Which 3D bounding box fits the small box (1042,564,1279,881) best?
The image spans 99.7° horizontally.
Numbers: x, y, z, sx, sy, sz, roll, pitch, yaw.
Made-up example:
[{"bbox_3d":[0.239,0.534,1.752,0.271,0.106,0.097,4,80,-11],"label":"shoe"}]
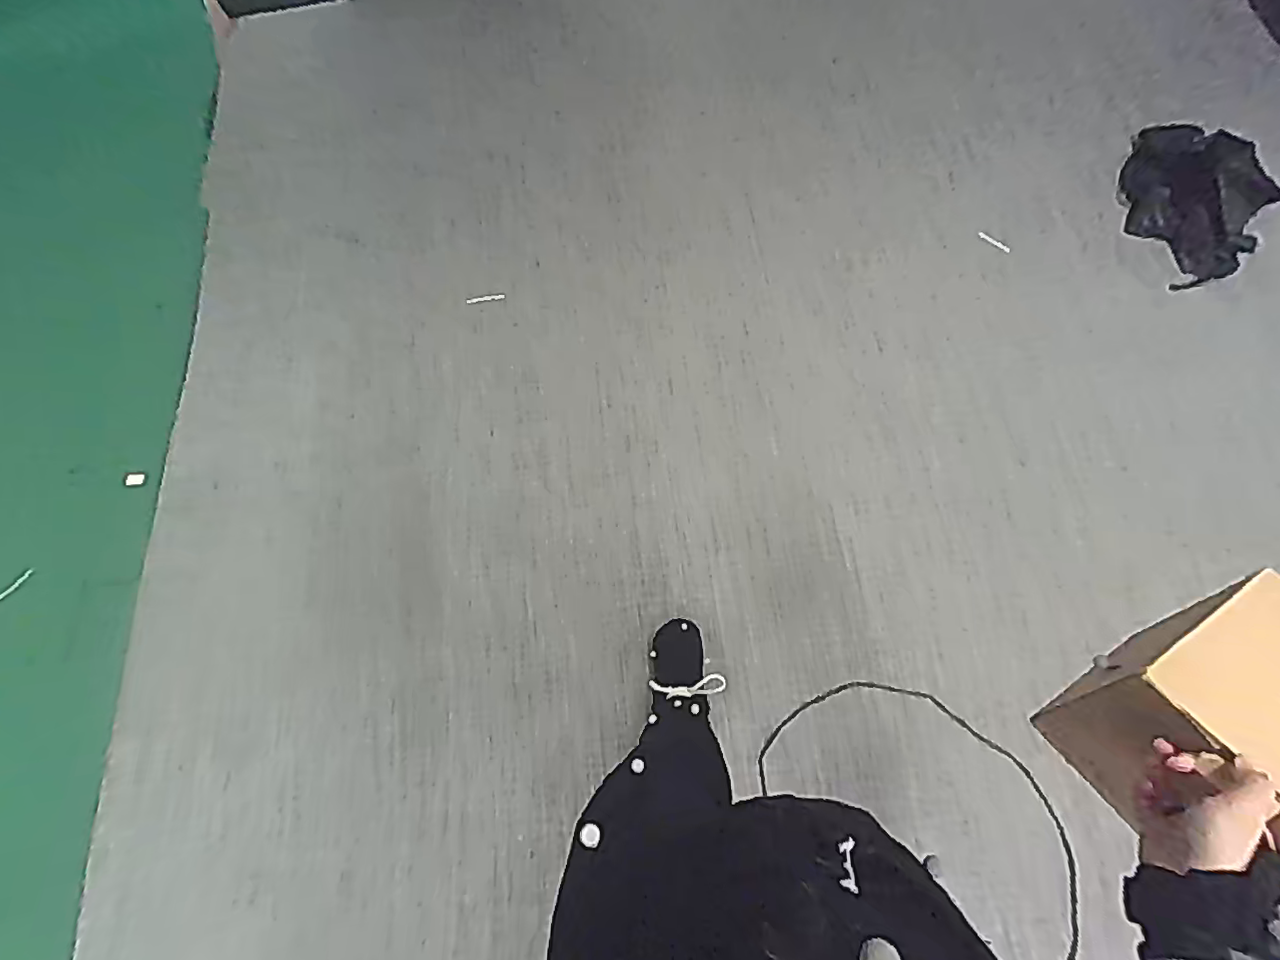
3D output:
[{"bbox_3d":[0.499,0.211,0.464,0.179,0.176,0.168,-27,57,-17],"label":"small box"}]
